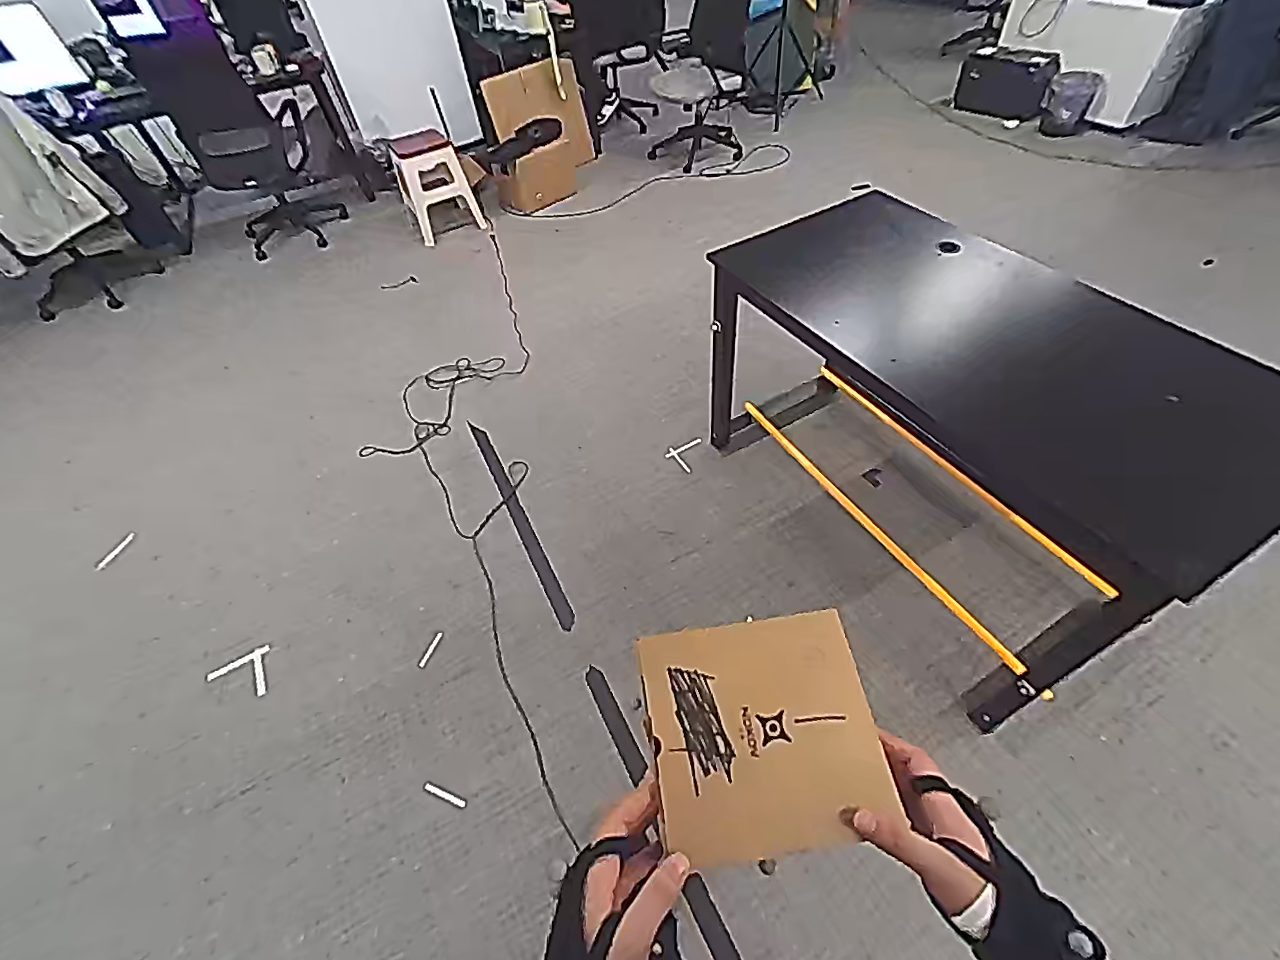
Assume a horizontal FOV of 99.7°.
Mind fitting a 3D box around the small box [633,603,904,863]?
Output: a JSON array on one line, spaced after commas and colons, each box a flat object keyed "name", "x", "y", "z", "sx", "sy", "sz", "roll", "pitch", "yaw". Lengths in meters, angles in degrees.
[{"name": "small box", "x": 0.092, "y": 0.224, "z": 0.483, "sx": 0.179, "sy": 0.176, "sz": 0.168, "roll": -7, "pitch": 61, "yaw": -4}]
